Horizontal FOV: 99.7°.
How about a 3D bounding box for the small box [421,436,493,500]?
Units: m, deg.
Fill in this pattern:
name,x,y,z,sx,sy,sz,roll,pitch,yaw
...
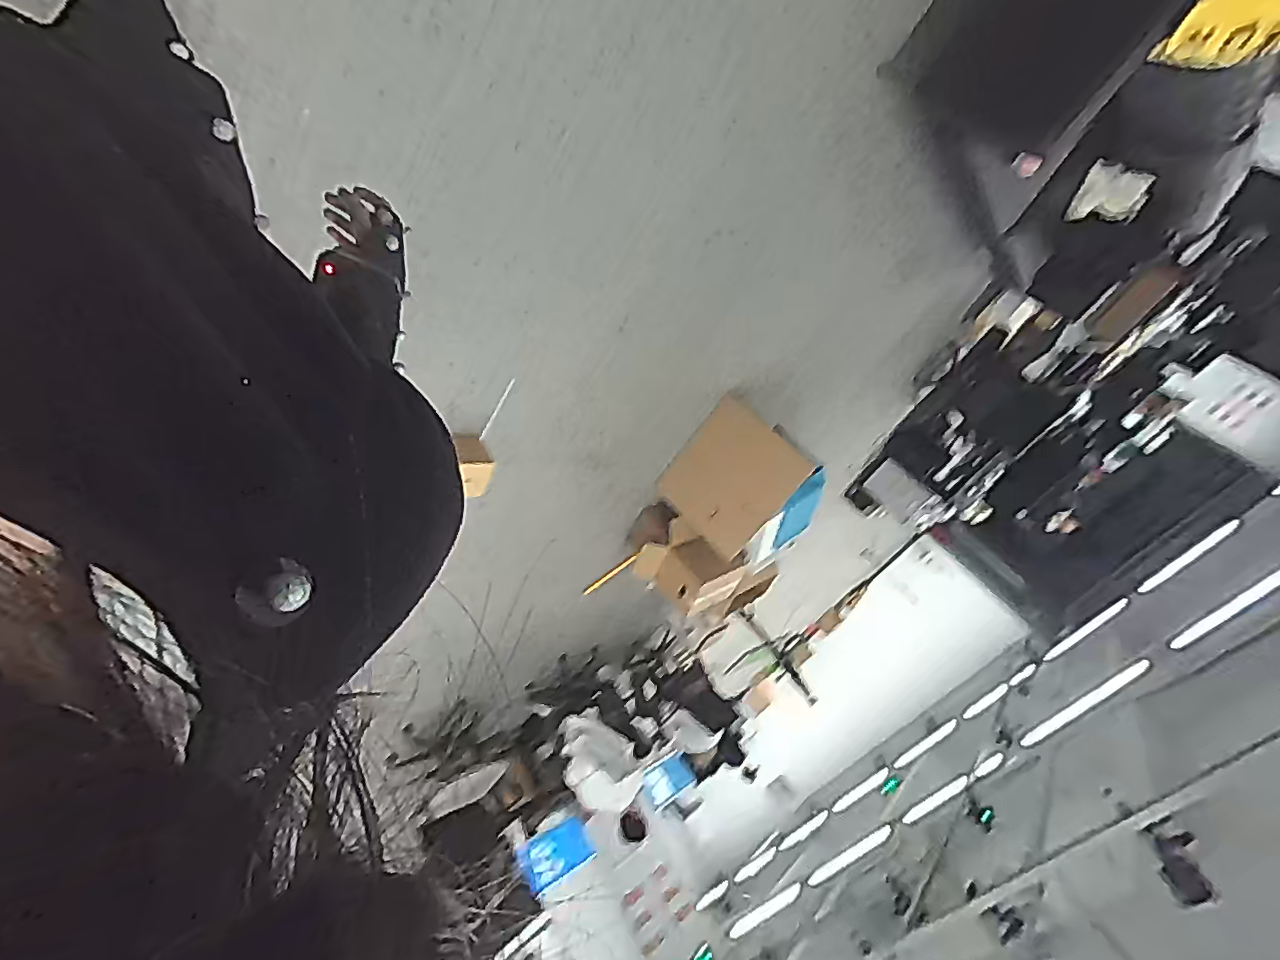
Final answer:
name,x,y,z,sx,sy,sz,roll,pitch,yaw
small box,-0.672,-0.046,1.968,0.179,0.176,0.168,-4,135,-47
